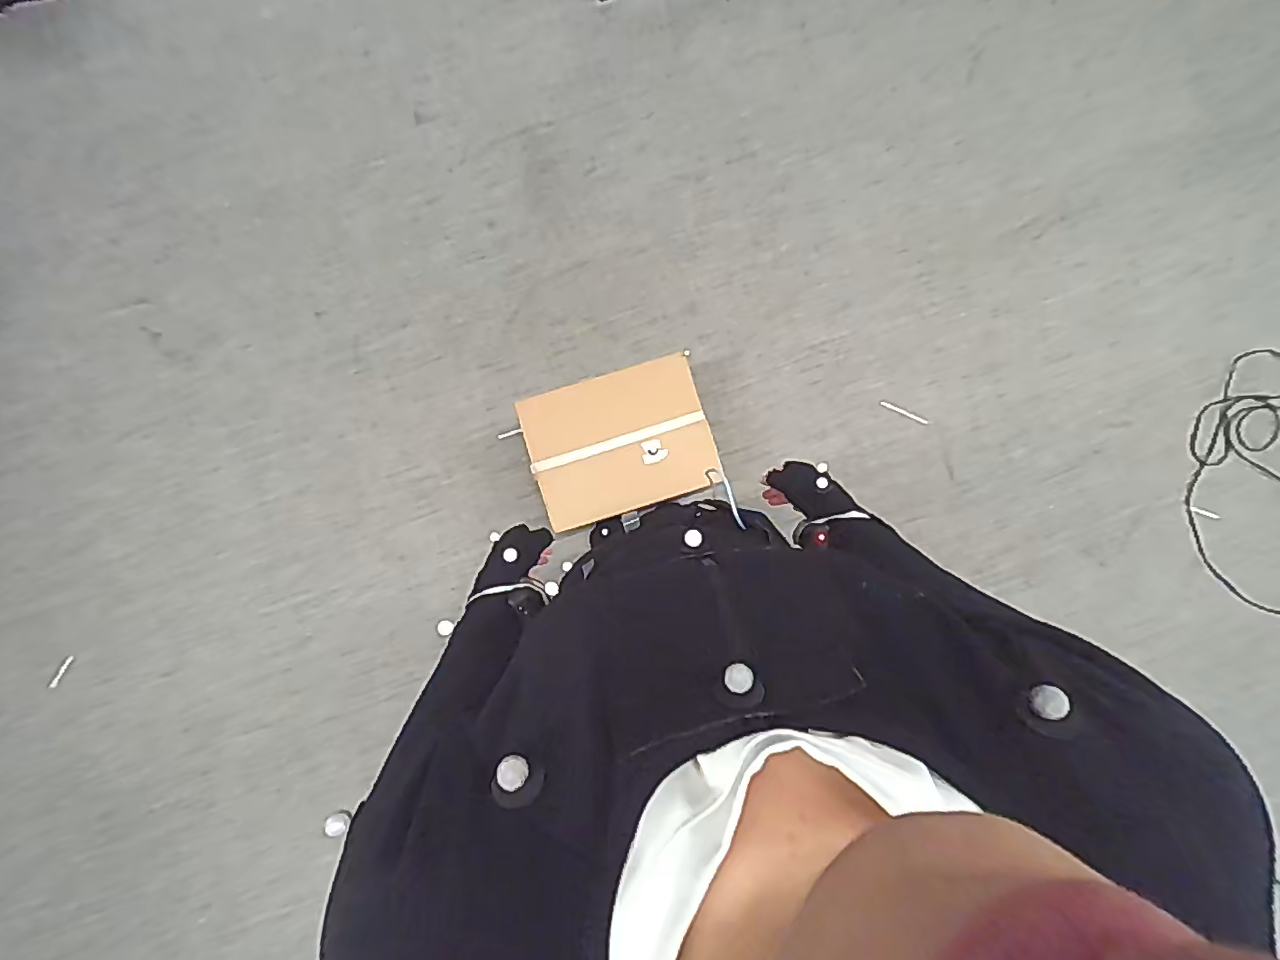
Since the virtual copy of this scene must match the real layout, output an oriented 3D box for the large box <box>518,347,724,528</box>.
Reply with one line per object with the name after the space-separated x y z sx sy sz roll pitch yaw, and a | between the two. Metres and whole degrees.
-0.045 -0.087 1.357 0.408 0.320 0.320 -18 87 -2 | large box
